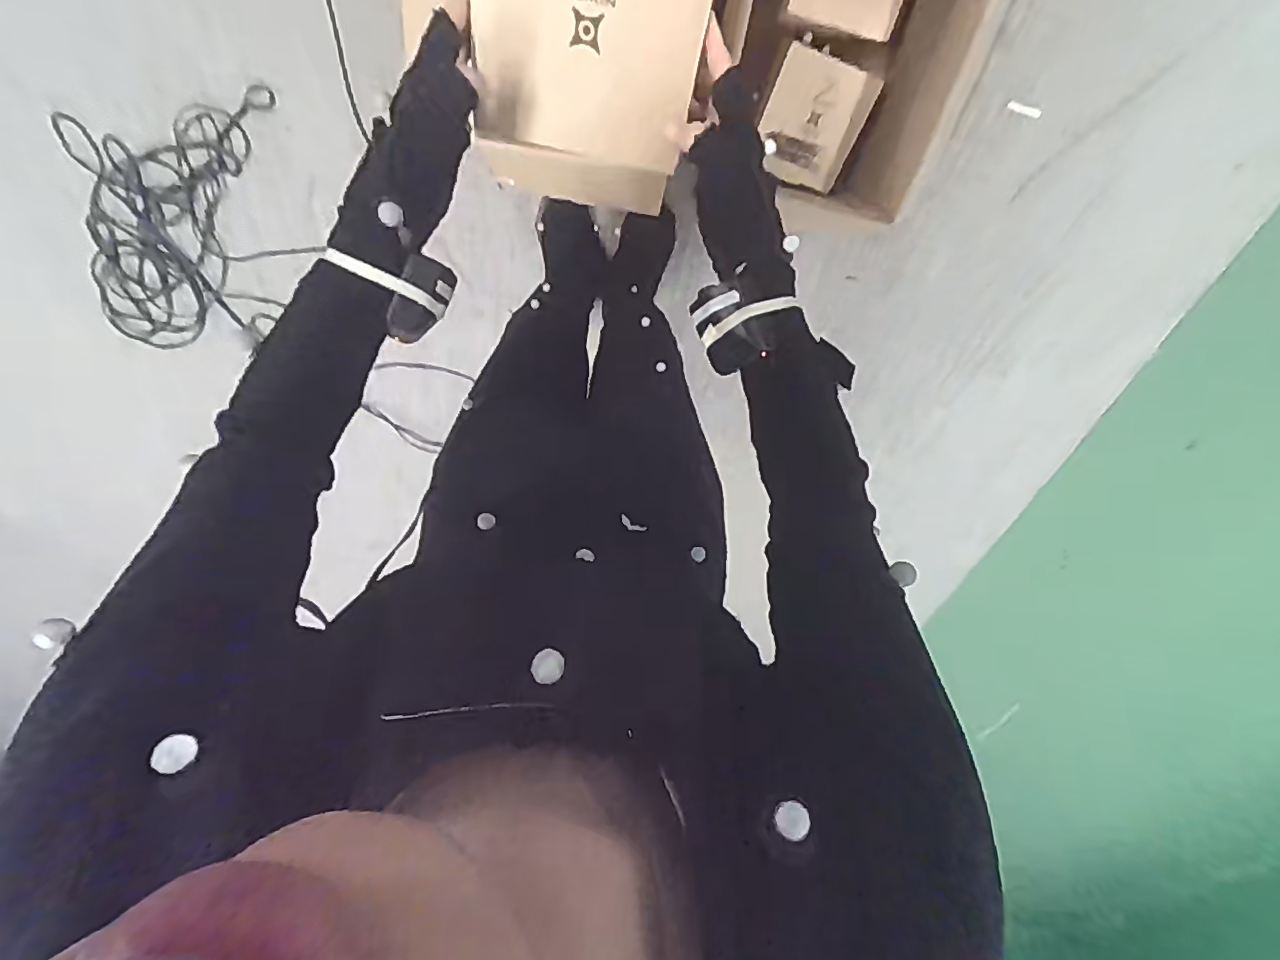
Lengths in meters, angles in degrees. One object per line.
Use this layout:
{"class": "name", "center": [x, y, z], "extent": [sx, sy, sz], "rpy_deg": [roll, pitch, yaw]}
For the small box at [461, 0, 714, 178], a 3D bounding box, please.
{"class": "small box", "center": [-0.035, -0.371, 0.418], "extent": [0.168, 0.176, 0.179], "rpy_deg": [9, 133, -10]}
